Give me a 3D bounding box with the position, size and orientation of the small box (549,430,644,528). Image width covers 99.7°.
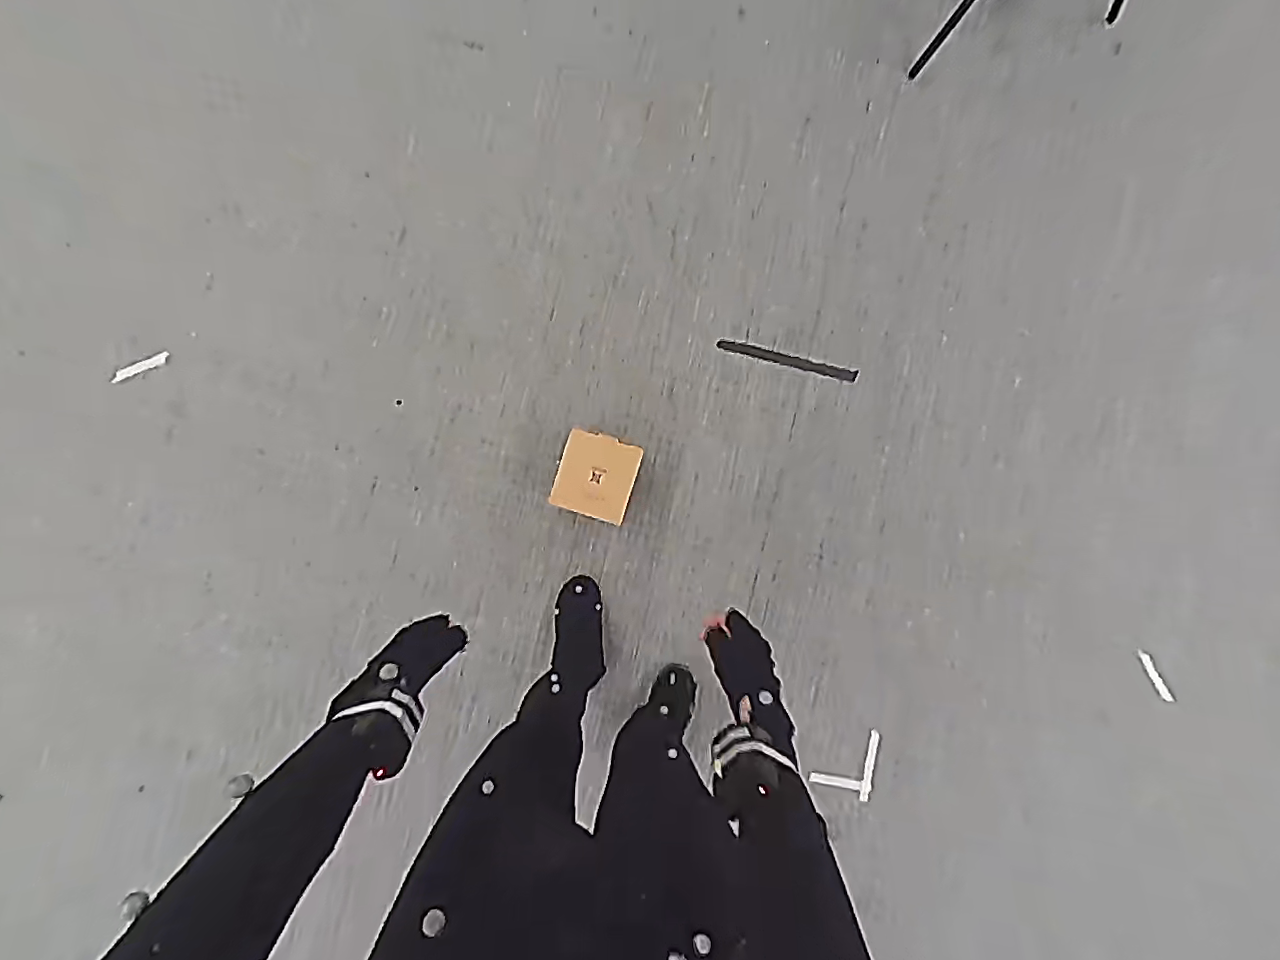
[{"bbox_3d":[-0.098,0.000,1.235,0.168,0.176,0.179,17,88,-1],"label":"small box"}]
